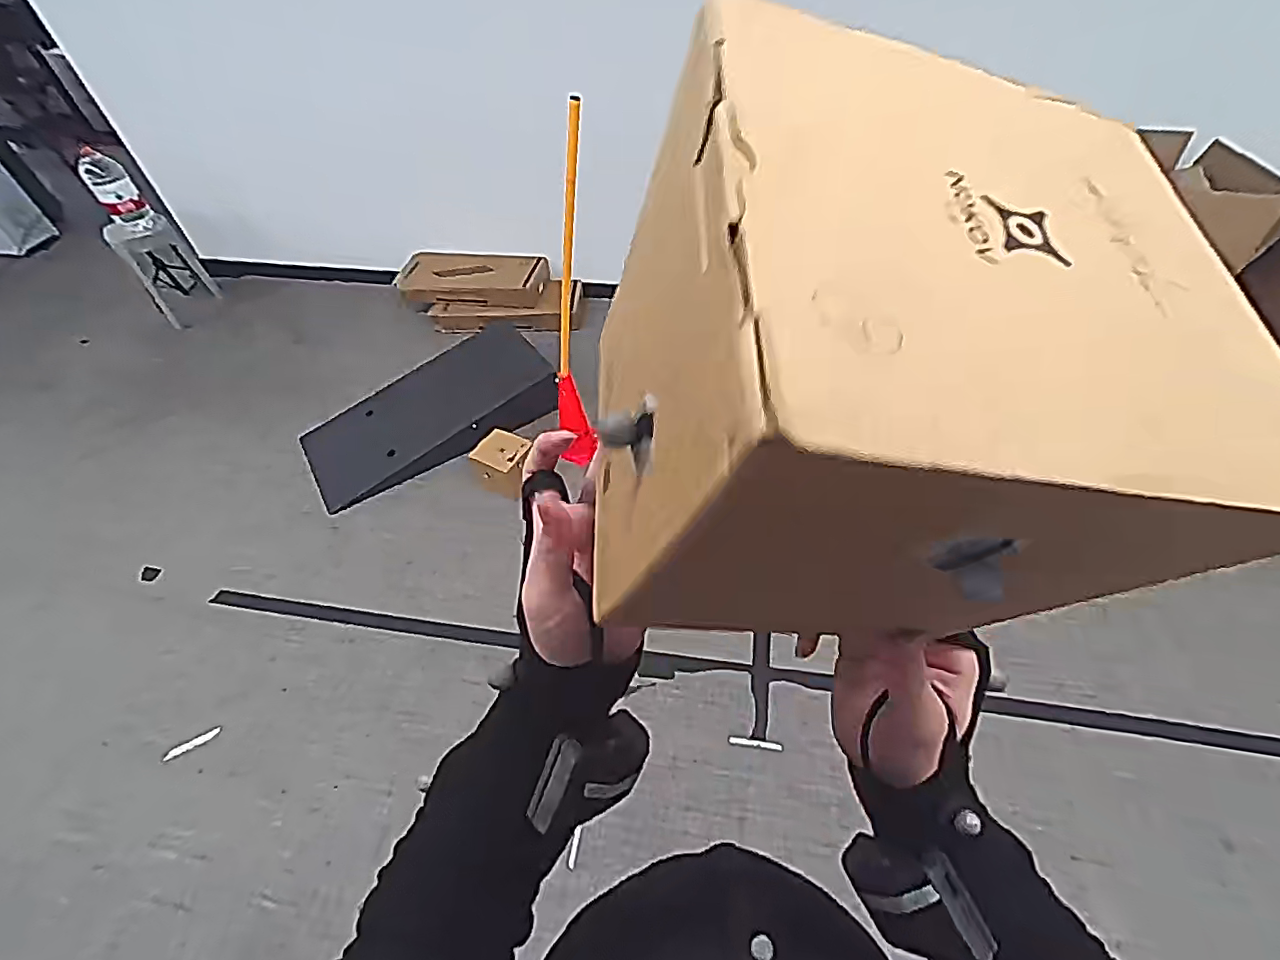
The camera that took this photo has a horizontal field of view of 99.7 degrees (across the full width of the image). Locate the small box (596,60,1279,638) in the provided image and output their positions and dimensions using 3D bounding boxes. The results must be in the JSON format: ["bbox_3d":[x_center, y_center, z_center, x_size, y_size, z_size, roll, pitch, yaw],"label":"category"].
[{"bbox_3d":[0.078,-0.029,0.237,0.179,0.176,0.168,5,64,-14],"label":"small box"}]
